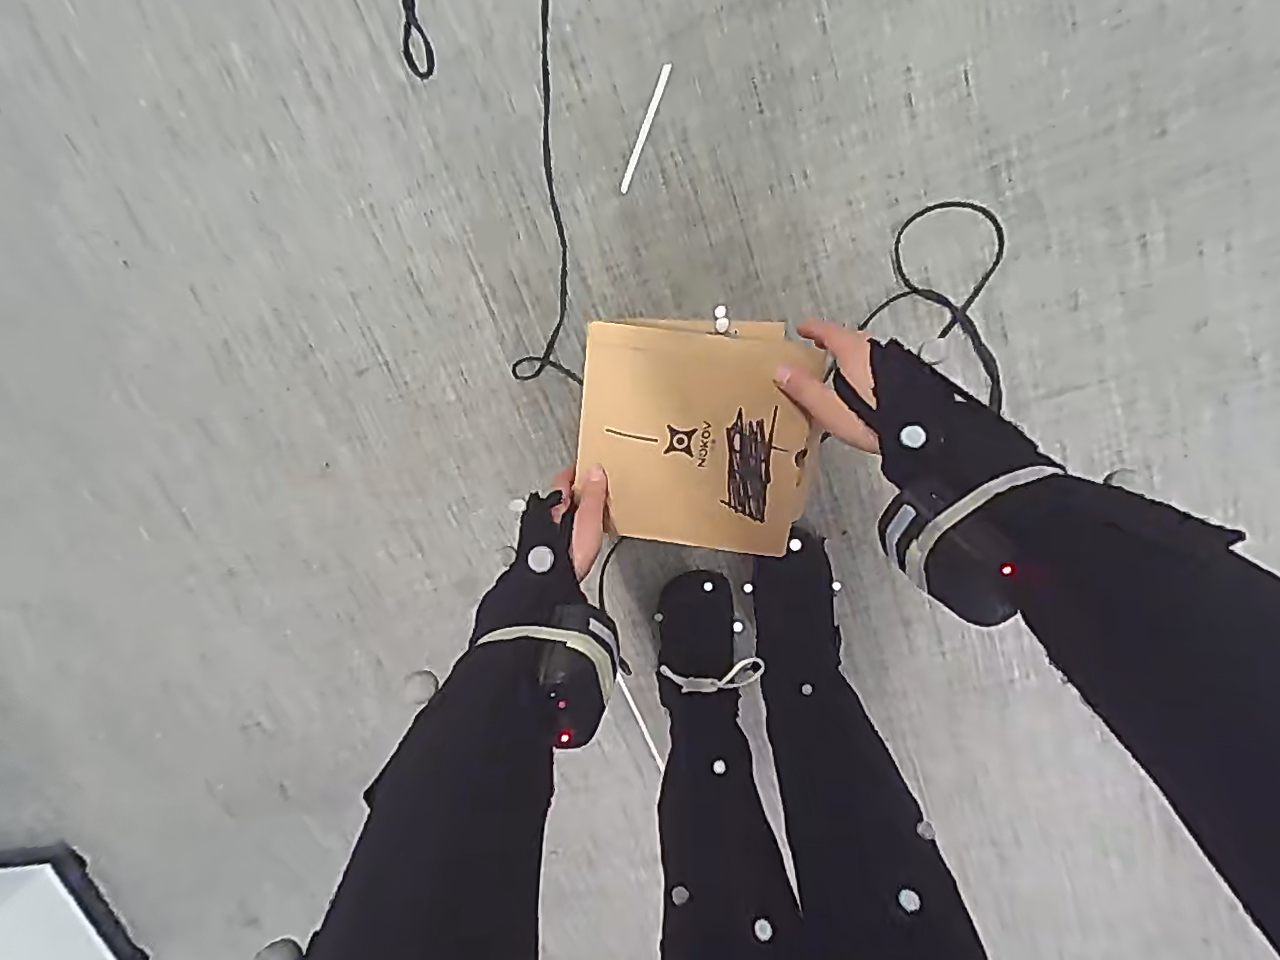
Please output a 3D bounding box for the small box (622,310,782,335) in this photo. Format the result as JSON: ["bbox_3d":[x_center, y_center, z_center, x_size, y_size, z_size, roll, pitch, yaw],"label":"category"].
[{"bbox_3d":[0.065,-0.108,0.644,0.168,0.176,0.179,3,107,3],"label":"small box"}]

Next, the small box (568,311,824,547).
[{"bbox_3d":[0.043,-0.057,0.488,0.179,0.176,0.168,8,107,2],"label":"small box"}]
